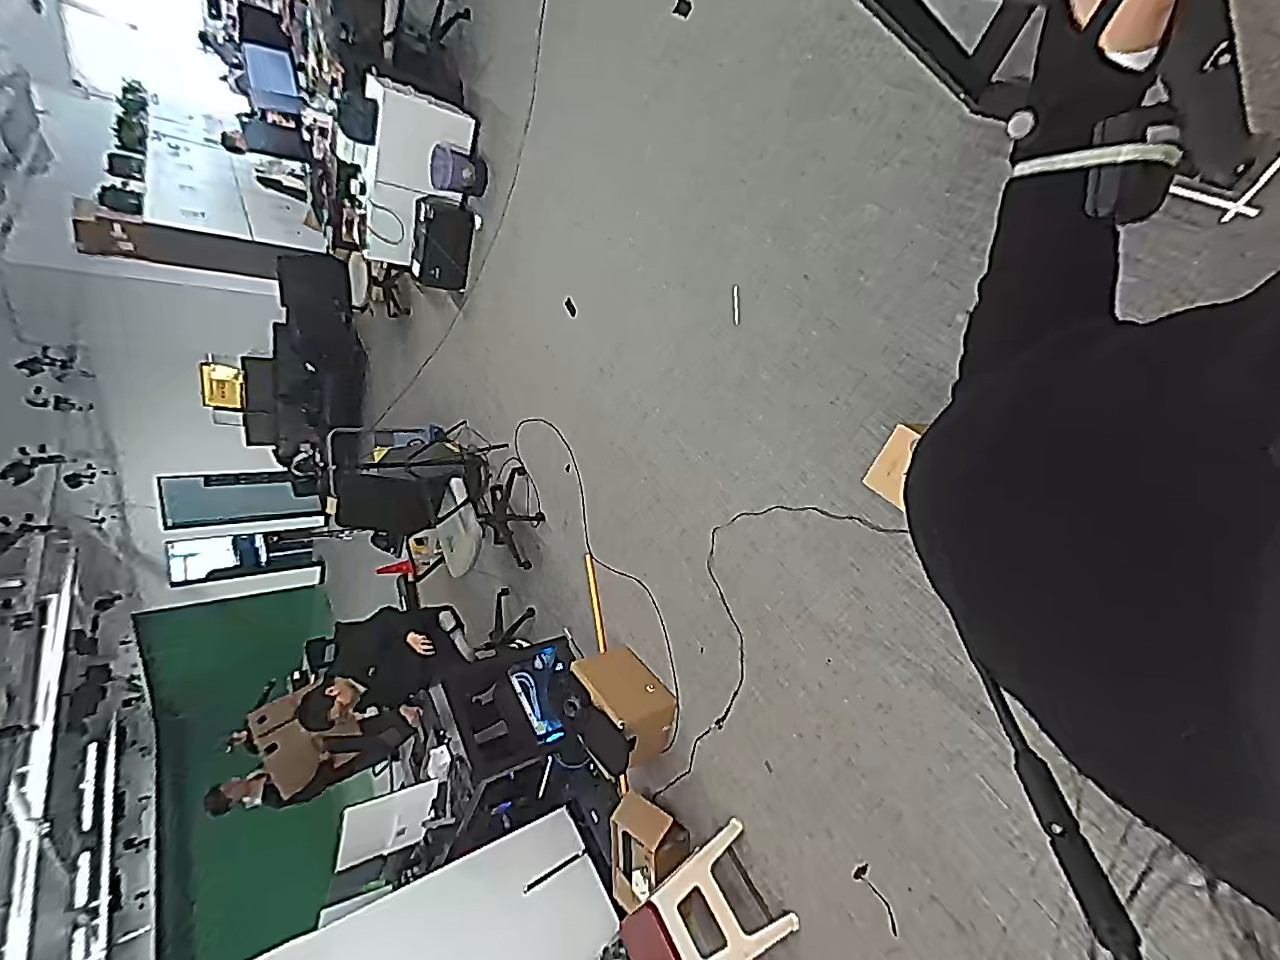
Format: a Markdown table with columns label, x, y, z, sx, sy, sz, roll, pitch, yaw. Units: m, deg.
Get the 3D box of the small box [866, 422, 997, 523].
| label | x | y | z | sx | sy | sz | roll | pitch | yaw |
| --- | --- | --- | --- | --- | --- | --- | --- | --- | --- |
| small box | 0.672 | -0.024 | 1.243 | 0.179 | 0.176 | 0.168 | 47 | 127 | 39 |
